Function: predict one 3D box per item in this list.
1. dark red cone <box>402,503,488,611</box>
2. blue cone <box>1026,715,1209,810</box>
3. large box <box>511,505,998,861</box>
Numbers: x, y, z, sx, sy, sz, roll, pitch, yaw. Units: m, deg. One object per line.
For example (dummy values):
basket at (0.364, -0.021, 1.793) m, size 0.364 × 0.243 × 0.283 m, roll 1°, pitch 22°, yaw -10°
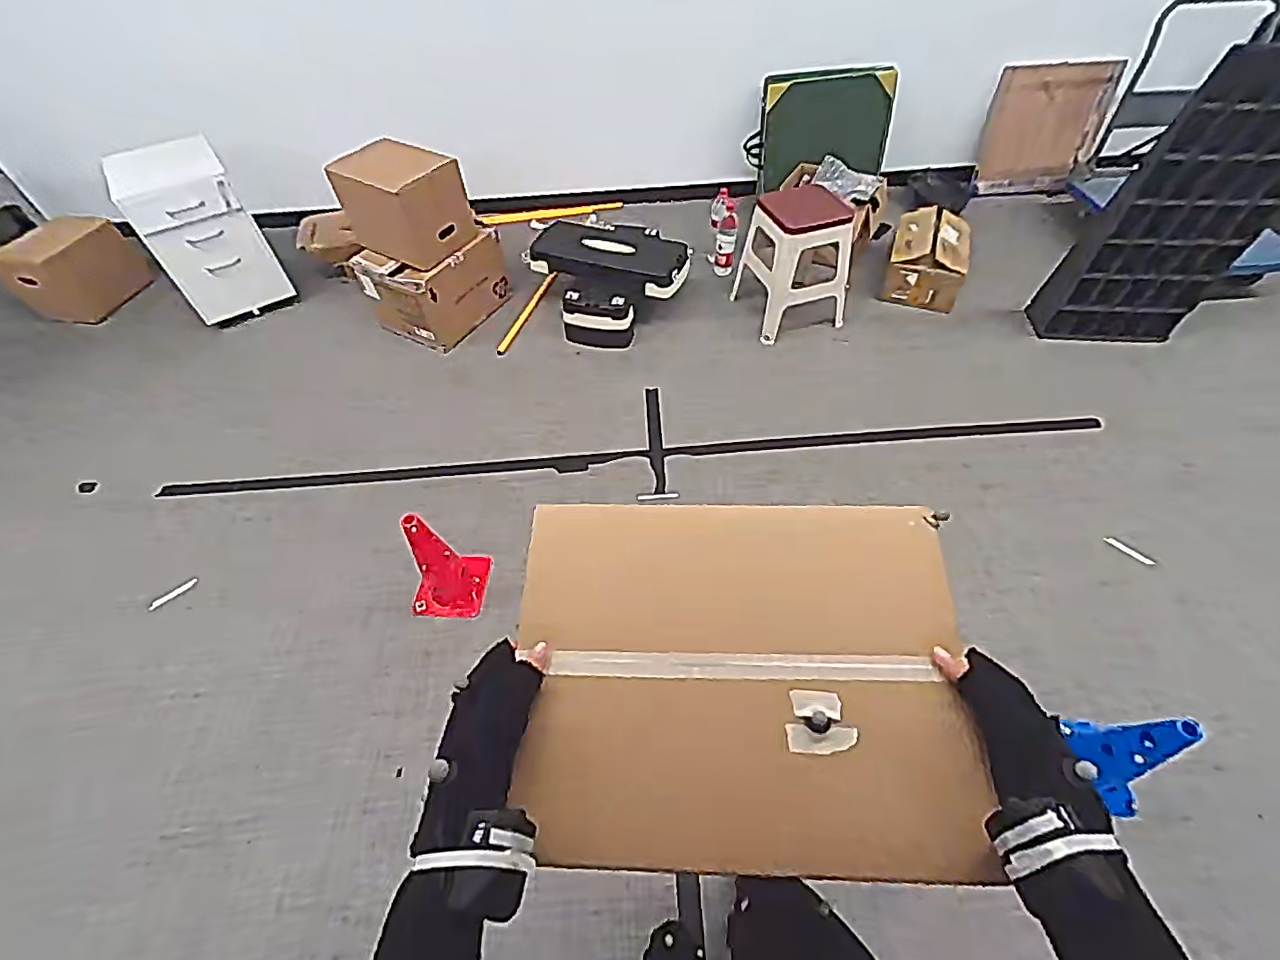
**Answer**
dark red cone at (-0.565, 0.193, 1.474) m, size 0.201 × 0.394 × 0.202 m, roll 1°, pitch 52°, yaw 3°
blue cone at (1.030, 0.568, 1.148) m, size 0.192 × 0.380 × 0.193 m, roll -1°, pitch 52°, yaw 1°
large box at (0.095, 0.230, 0.635) m, size 0.408 × 0.320 × 0.320 m, roll 0°, pitch 65°, yaw 3°
